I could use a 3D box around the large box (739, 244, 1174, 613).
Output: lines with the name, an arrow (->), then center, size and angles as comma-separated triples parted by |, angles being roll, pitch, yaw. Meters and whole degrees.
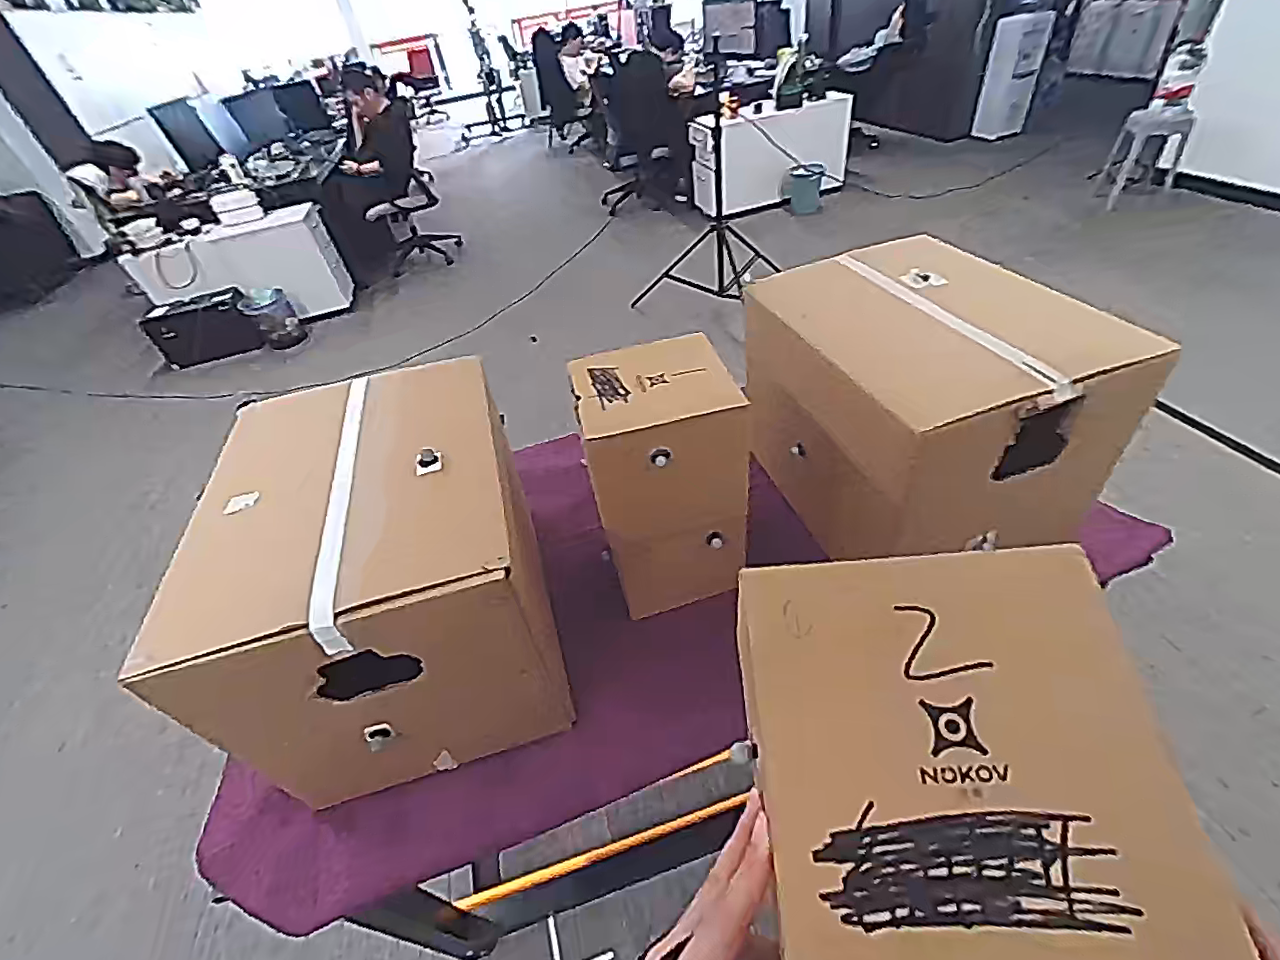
large box -> 0.371, -0.093, 0.774 | 0.320, 0.320, 0.408 | -17, 41, -8
